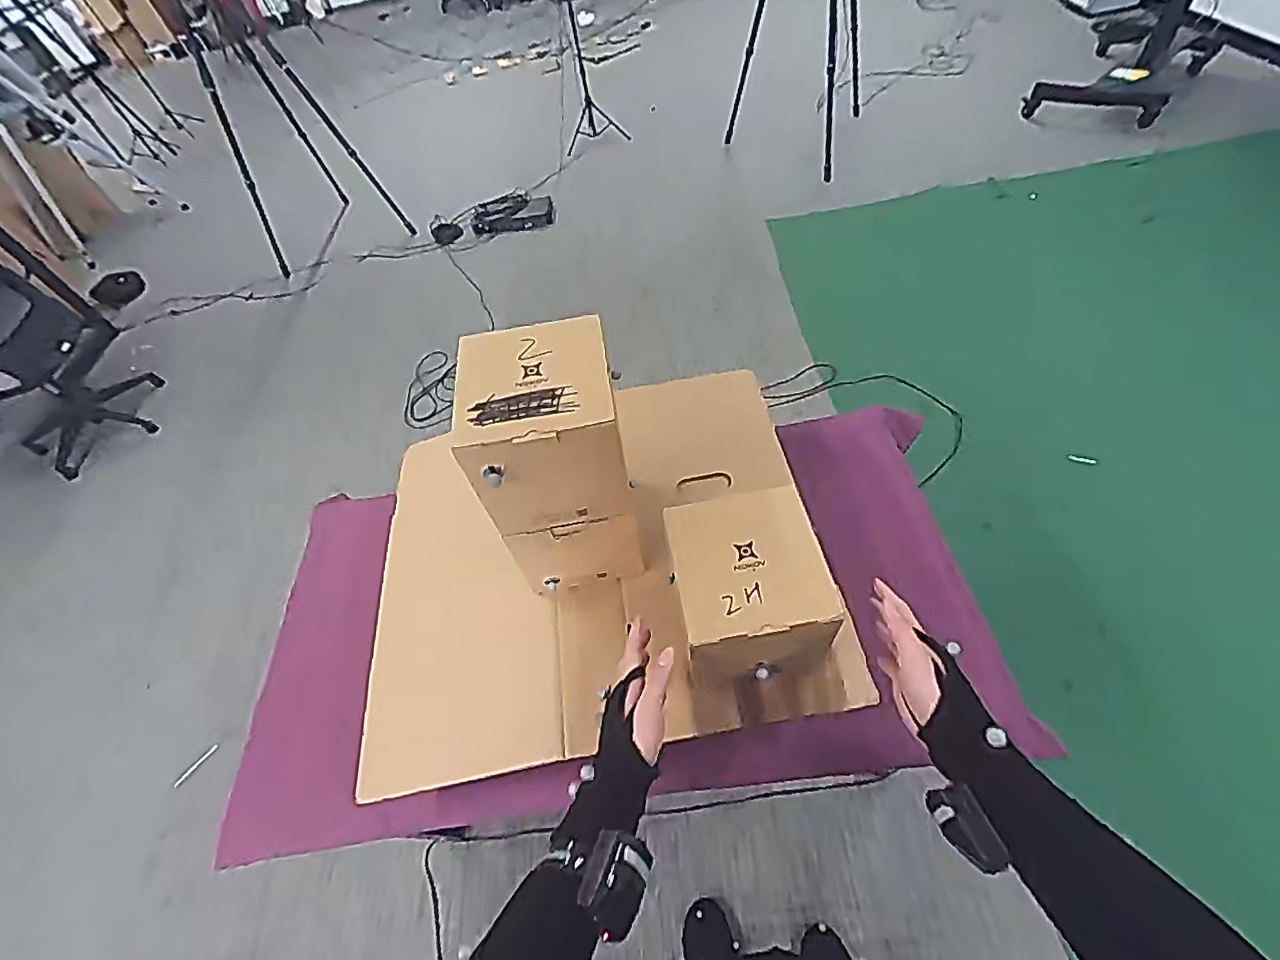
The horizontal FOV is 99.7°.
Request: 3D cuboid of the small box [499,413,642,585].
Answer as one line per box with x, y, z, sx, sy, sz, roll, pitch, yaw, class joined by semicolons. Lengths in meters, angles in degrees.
-0.094;0.035;0.767;0.168;0.176;0.179;-10;53;-1;small box
